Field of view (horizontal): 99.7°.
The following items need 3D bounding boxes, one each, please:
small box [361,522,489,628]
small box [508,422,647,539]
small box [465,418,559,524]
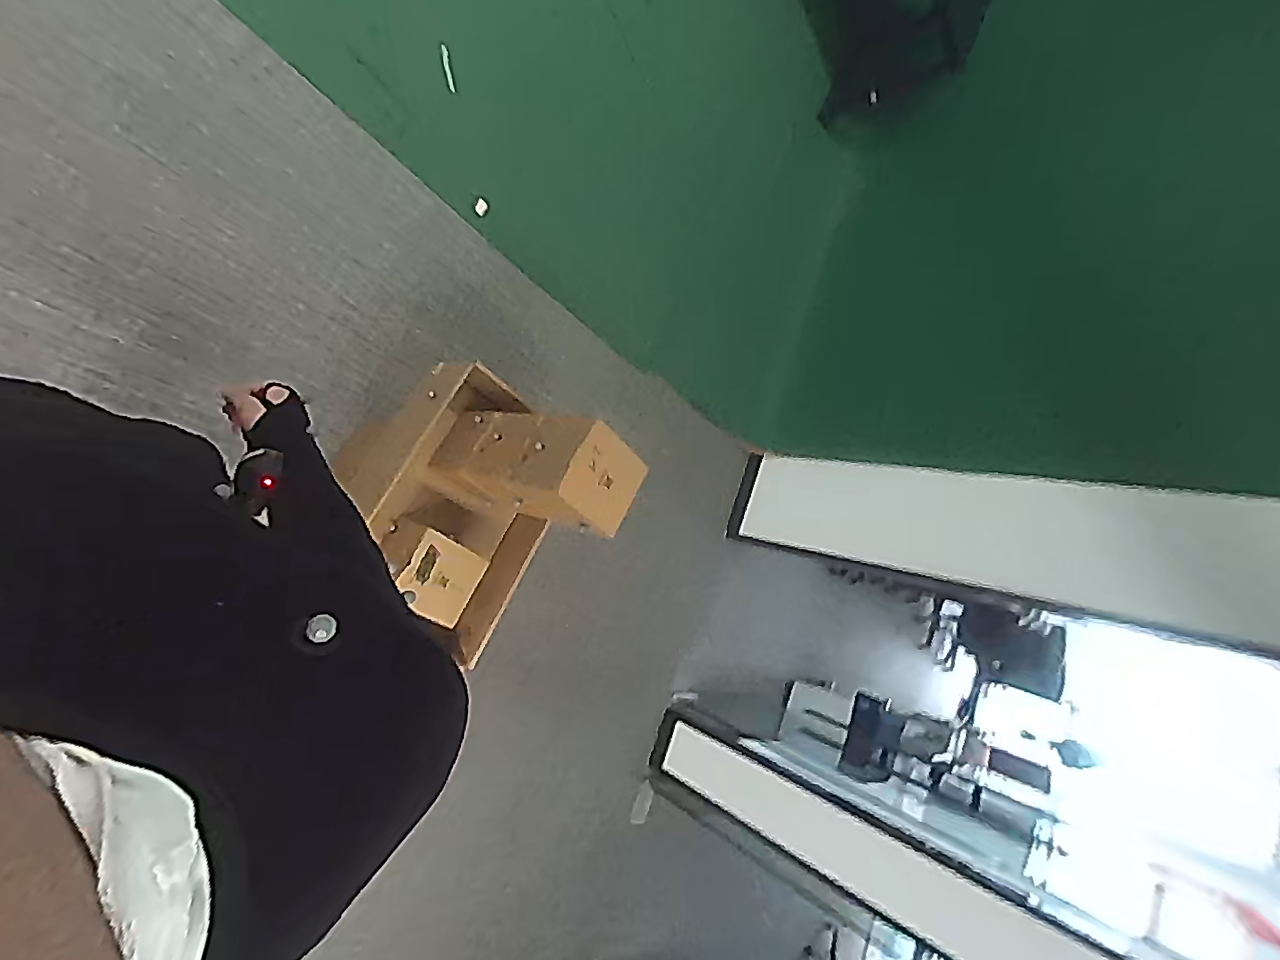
[{"bbox_3d":[-0.485,0.206,1.213,0.179,0.176,0.168,44,66,-41],"label":"small box"},{"bbox_3d":[-0.124,-0.006,1.078,0.179,0.176,0.168,45,65,-40],"label":"small box"},{"bbox_3d":[-0.244,-0.027,1.190,0.179,0.176,0.168,44,66,-40],"label":"small box"}]
